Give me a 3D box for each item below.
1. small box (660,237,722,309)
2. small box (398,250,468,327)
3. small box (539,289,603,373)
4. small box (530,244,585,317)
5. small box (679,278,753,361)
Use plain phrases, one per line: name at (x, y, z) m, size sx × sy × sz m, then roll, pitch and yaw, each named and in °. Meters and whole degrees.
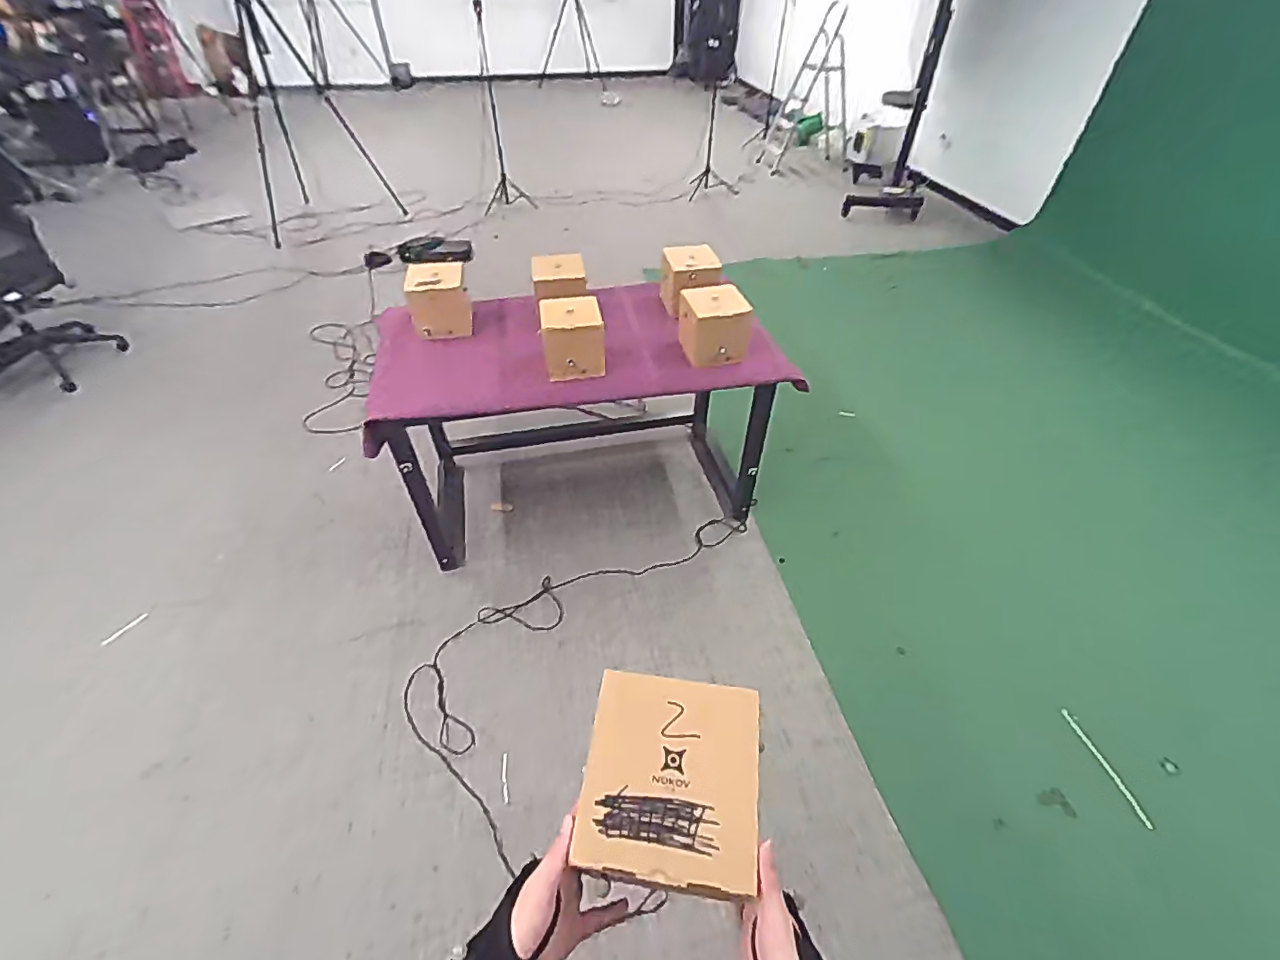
small box at (0.164, -0.691, 1.806) m, size 0.168 × 0.176 × 0.179 m, roll -8°, pitch 47°, yaw -8°
small box at (-0.633, -0.589, 1.677) m, size 0.168 × 0.176 × 0.179 m, roll -7°, pitch 48°, yaw -9°
small box at (-0.198, -0.425, 1.542) m, size 0.168 × 0.176 × 0.179 m, roll -6°, pitch 46°, yaw -9°
small box at (-0.266, -0.643, 1.748) m, size 0.168 × 0.176 × 0.179 m, roll -6°, pitch 48°, yaw -7°
small box at (0.216, -0.474, 1.597) m, size 0.168 × 0.176 × 0.179 m, roll -9°, pitch 47°, yaw -9°
